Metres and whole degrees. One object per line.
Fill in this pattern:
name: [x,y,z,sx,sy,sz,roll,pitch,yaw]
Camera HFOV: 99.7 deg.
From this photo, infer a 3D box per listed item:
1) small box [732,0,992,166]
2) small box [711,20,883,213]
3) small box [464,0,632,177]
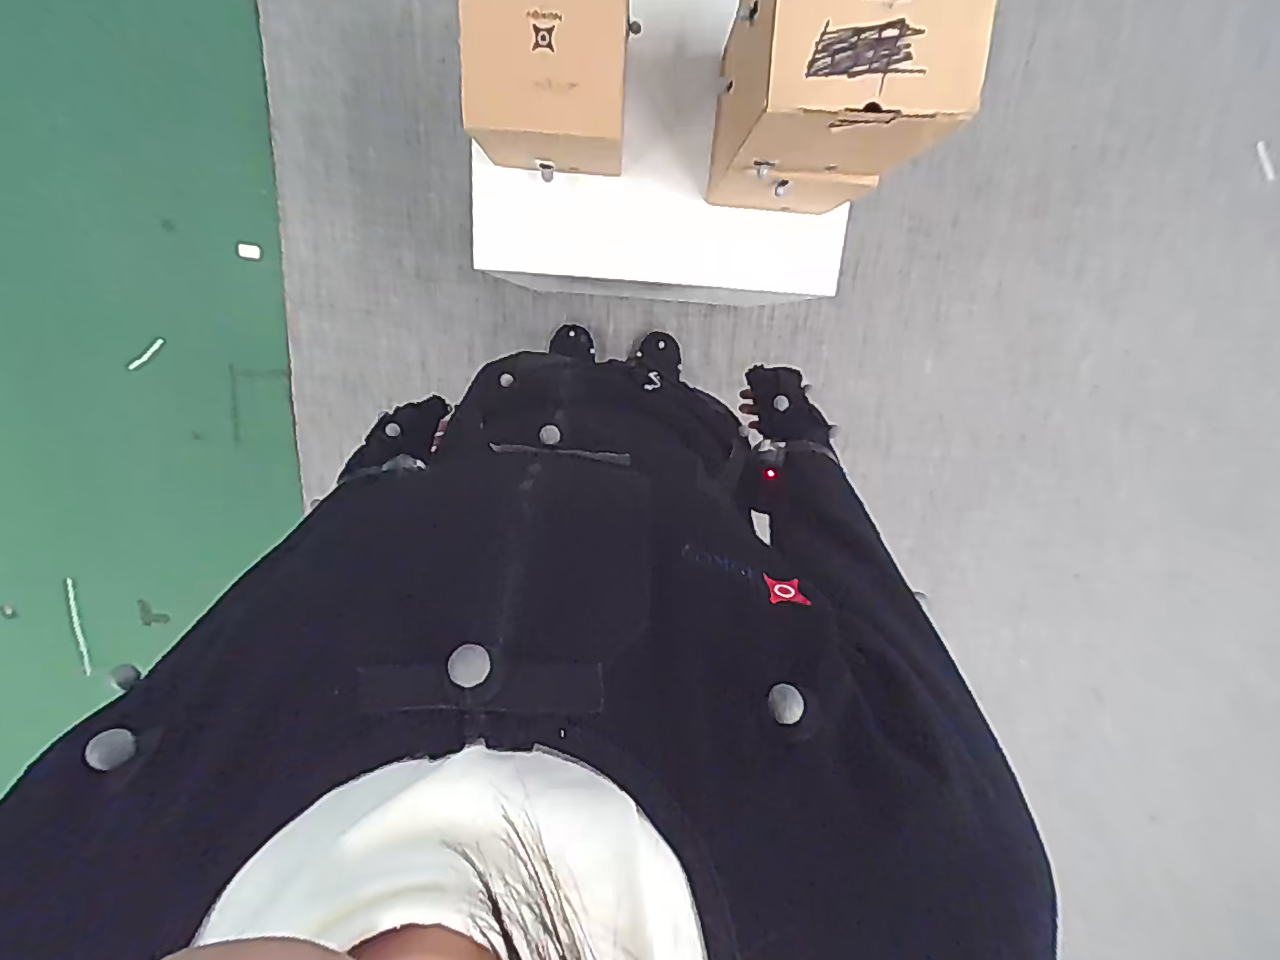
small box: [0.177,-0.389,0.467,0.168,0.176,0.179,1,106,-1]
small box: [0.180,-0.429,0.627,0.168,0.176,0.179,4,106,-1]
small box: [-0.094,-0.466,0.614,0.168,0.176,0.179,2,108,-1]
